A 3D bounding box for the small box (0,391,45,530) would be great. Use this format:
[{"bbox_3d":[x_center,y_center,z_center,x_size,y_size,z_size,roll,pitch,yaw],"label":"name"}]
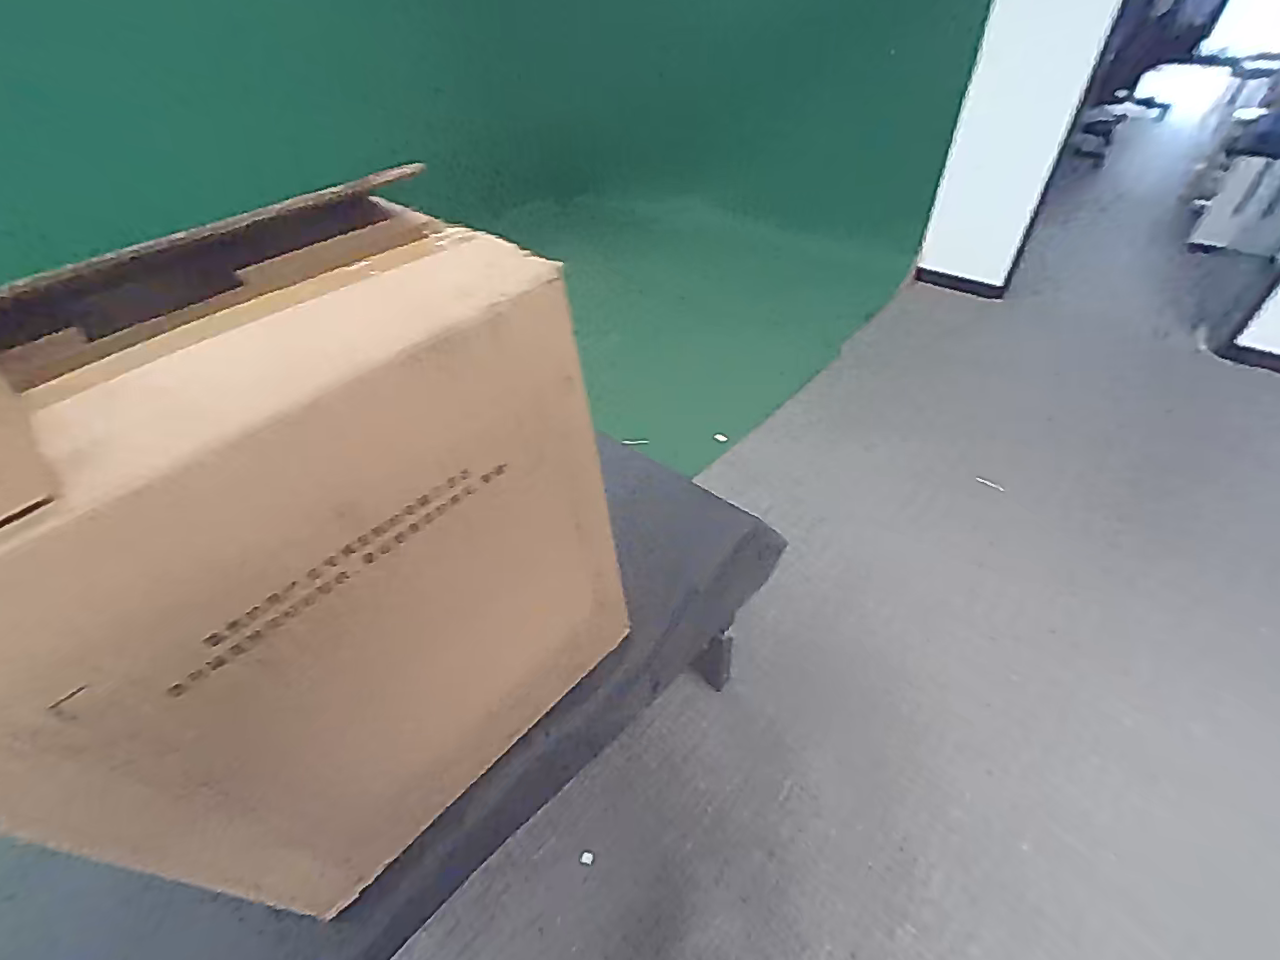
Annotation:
[{"bbox_3d":[-0.446,-0.035,0.244,0.179,0.176,0.168,30,58,29],"label":"small box"}]
